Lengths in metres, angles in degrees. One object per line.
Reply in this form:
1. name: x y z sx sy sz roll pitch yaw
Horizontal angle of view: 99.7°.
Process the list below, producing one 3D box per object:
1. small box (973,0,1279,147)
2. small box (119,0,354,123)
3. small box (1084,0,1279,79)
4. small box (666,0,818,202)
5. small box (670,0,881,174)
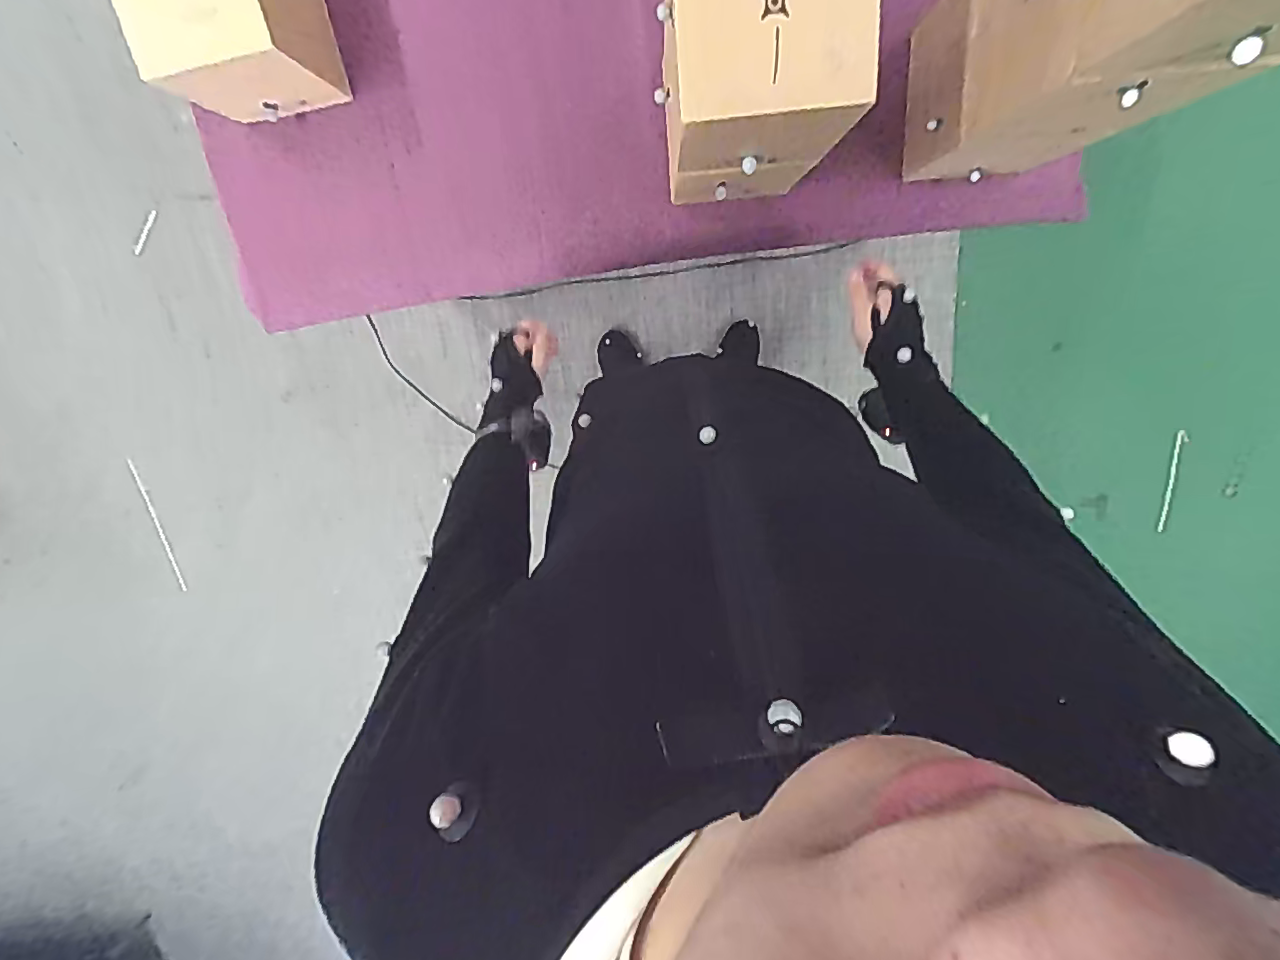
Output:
1. small box: 0.430 -0.428 0.485 0.168 0.176 0.179 -2 106 5
2. small box: -0.491 -0.574 0.661 0.168 0.176 0.179 -8 108 6
3. small box: 0.419 -0.384 0.327 0.168 0.176 0.179 -3 107 5
4. small box: 0.121 -0.456 0.668 0.168 0.176 0.179 -3 106 4
5. small box: 0.114 -0.412 0.510 0.168 0.176 0.179 -3 106 4
